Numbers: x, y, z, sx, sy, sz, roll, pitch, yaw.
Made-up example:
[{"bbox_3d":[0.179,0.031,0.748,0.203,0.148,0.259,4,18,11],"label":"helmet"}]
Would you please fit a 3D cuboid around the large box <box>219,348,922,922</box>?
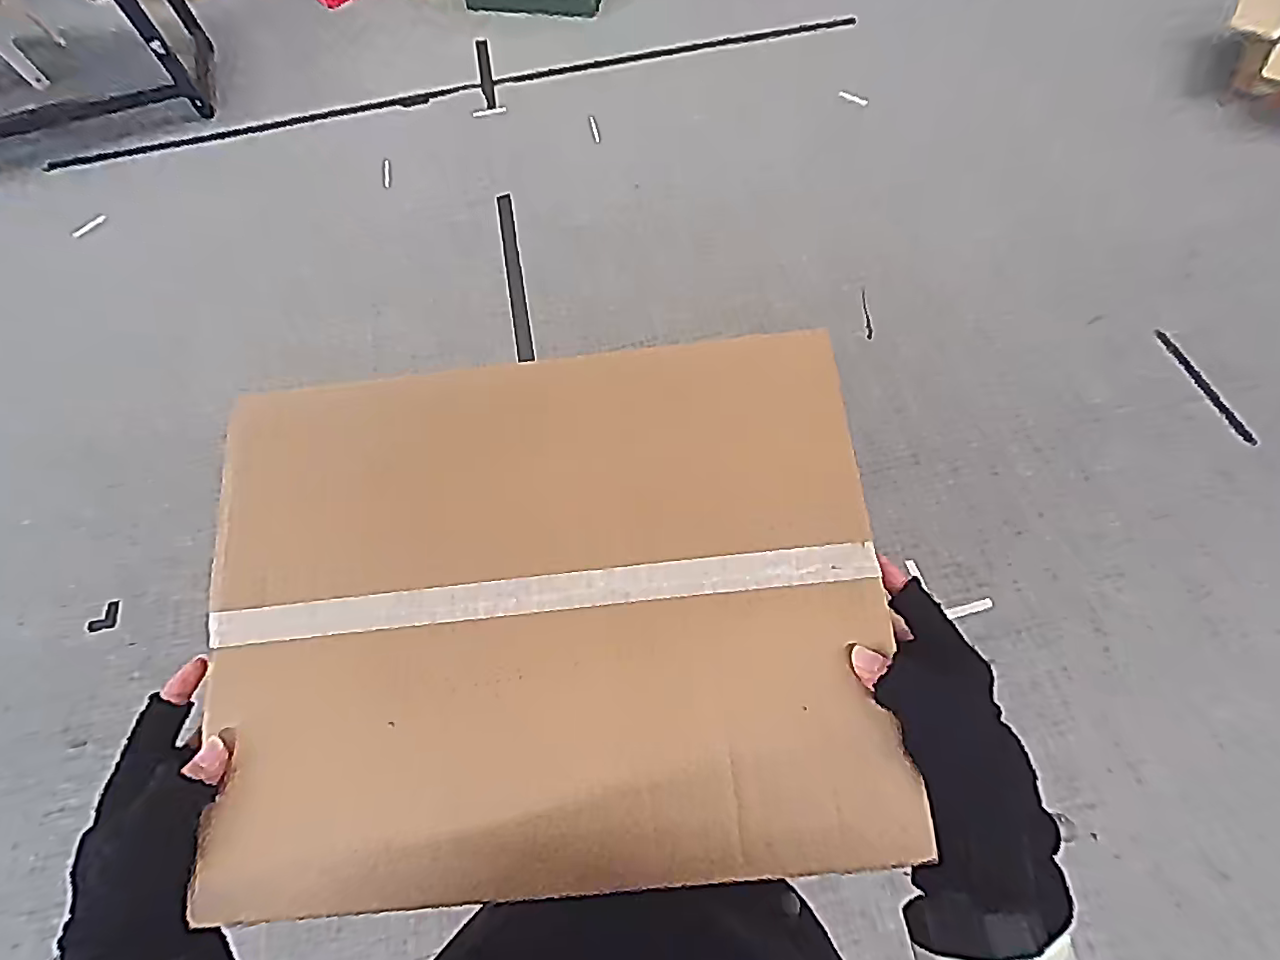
[{"bbox_3d":[-0.050,0.118,0.481,0.408,0.320,0.320,-6,76,2],"label":"large box"}]
